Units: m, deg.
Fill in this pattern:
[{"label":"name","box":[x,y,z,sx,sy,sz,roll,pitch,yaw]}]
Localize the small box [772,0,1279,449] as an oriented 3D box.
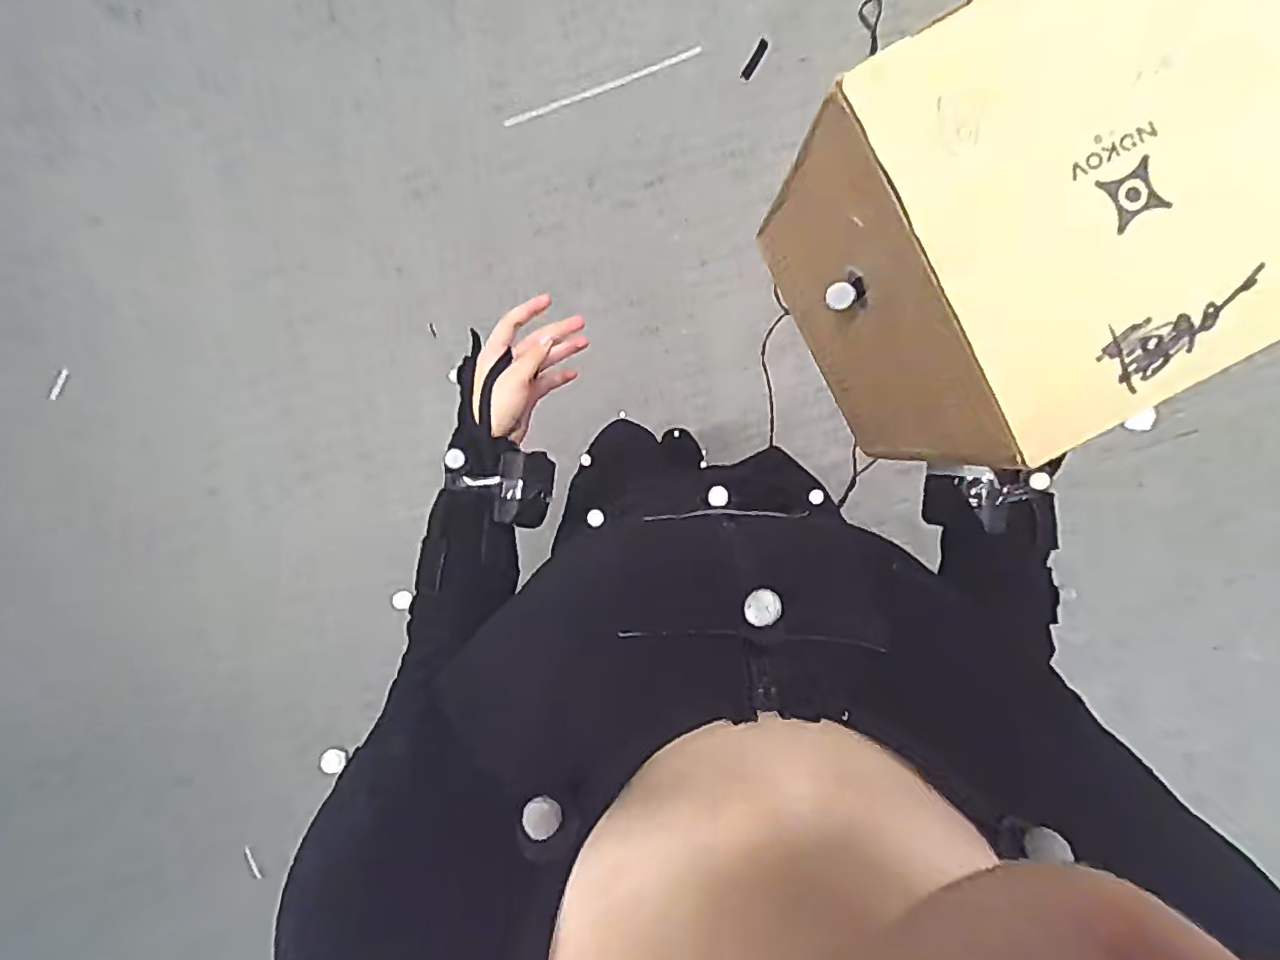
[{"label":"small box","box":[0.194,-0.127,0.301,0.168,0.176,0.179,-28,92,3]}]
